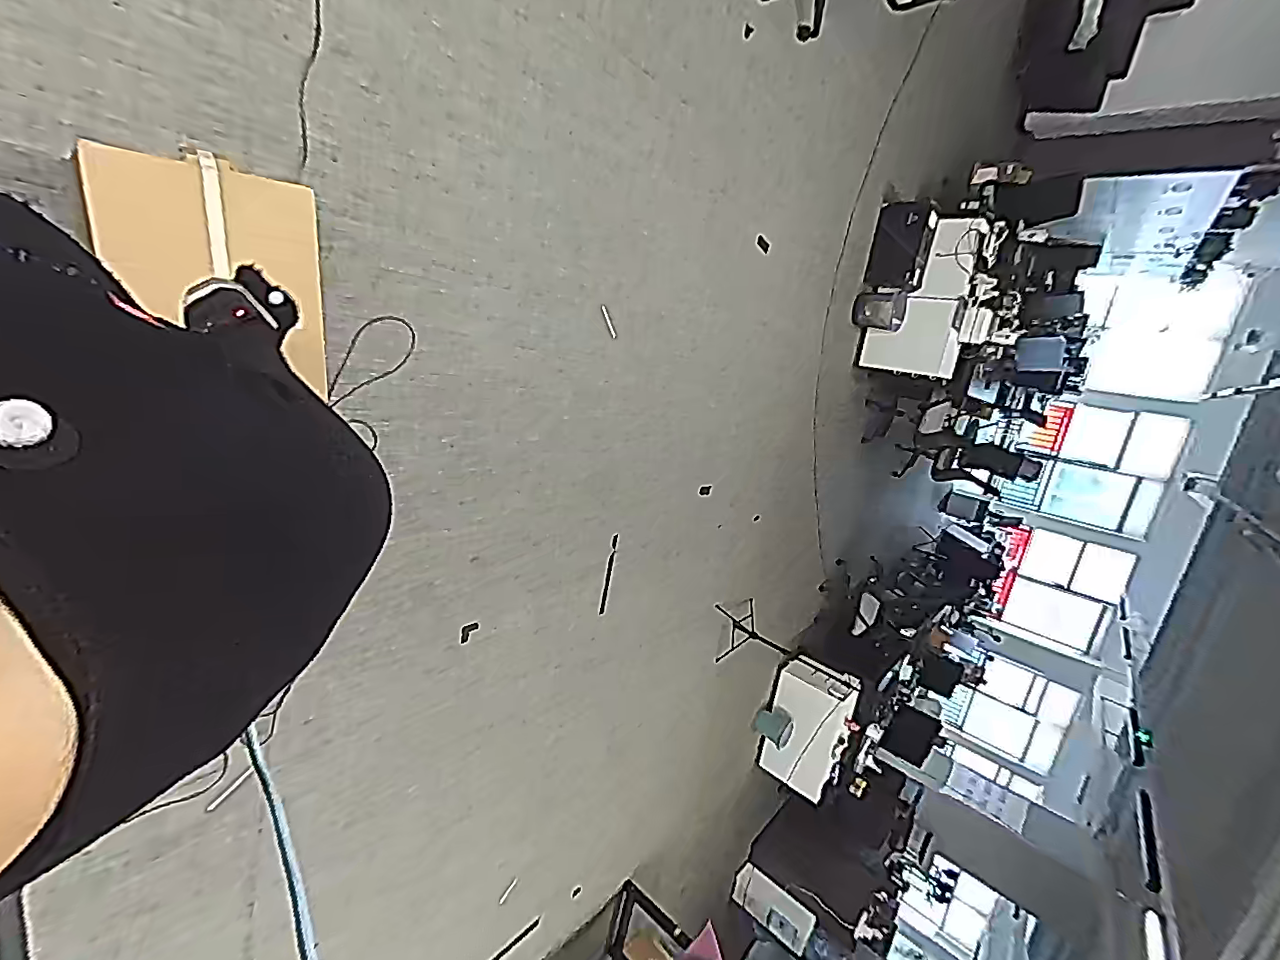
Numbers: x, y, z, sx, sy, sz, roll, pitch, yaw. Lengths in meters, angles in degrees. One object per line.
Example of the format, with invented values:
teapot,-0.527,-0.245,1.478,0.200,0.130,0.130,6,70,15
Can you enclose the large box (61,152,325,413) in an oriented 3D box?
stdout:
large box,-0.856,-0.371,1.056,0.320,0.320,0.408,-13,117,-46
